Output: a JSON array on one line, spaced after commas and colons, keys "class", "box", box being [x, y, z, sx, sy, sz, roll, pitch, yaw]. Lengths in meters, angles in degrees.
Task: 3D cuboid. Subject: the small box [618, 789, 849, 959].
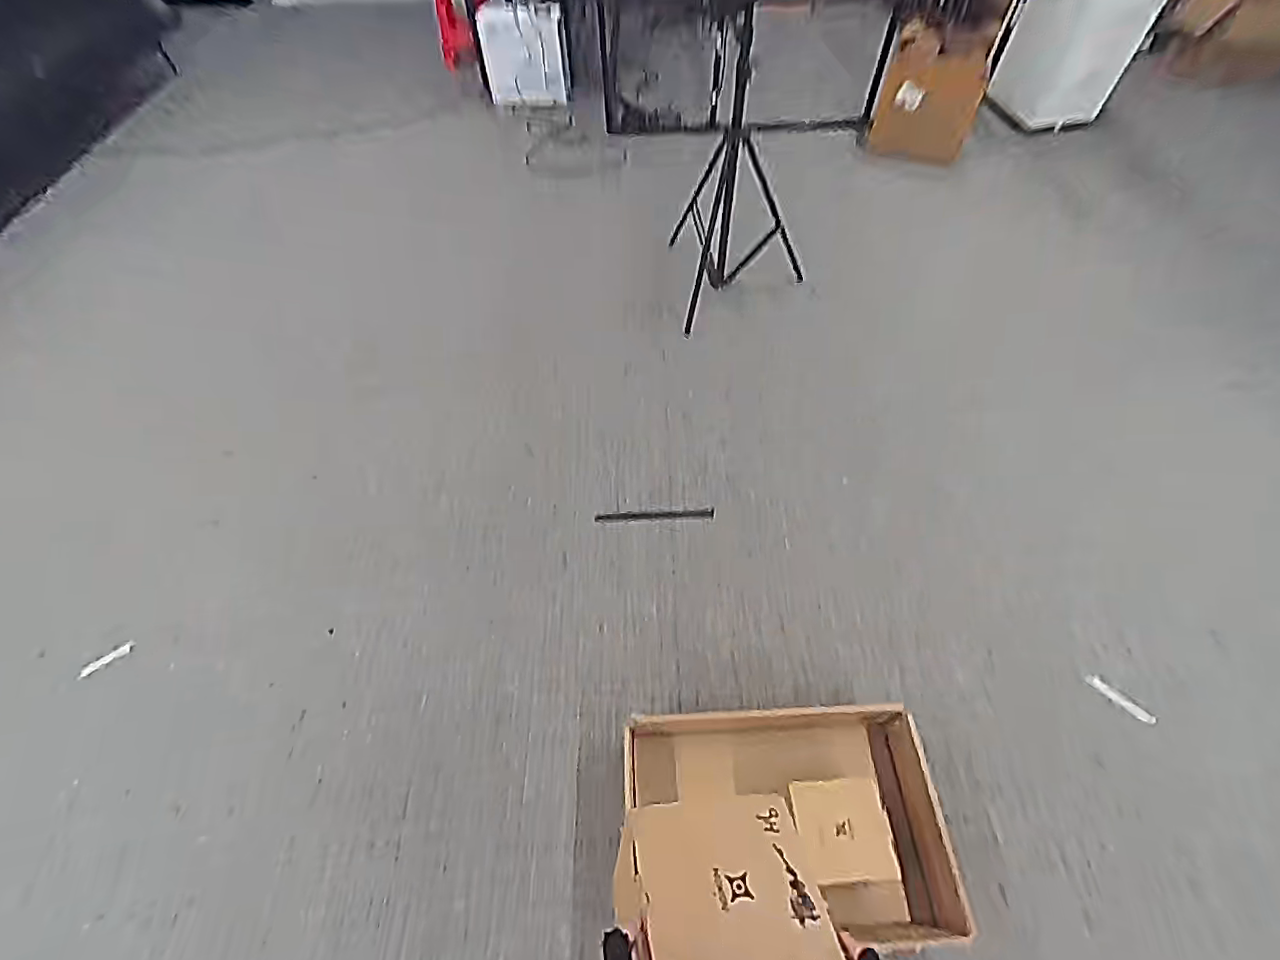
[{"class": "small box", "box": [0.074, 0.444, 0.539, 0.179, 0.176, 0.168, 1, 30, -12]}]

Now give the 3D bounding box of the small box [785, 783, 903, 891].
[{"class": "small box", "box": [0.388, 0.714, 1.084, 0.179, 0.176, 0.168, -5, 55, 0]}]
